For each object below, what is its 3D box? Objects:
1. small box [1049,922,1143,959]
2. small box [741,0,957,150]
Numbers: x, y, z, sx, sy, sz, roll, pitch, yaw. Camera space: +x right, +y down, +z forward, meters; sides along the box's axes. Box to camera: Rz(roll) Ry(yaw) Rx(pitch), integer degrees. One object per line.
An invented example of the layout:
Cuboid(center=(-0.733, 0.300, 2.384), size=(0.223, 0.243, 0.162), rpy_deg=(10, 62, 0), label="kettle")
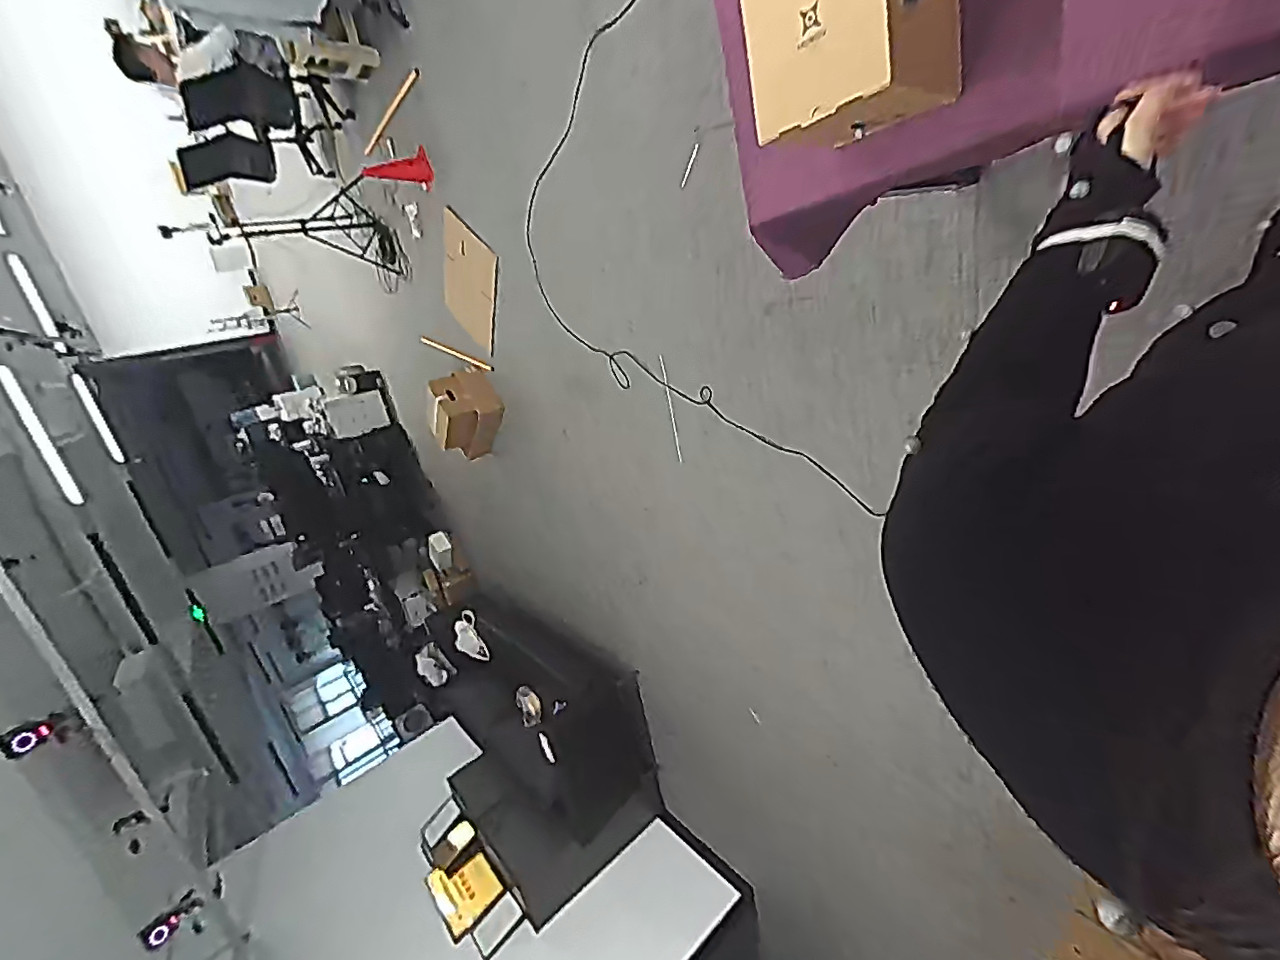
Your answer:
Cuboid(center=(1.079, 1.197, 1.270), size=(0.179, 0.176, 0.168), rpy_deg=(13, 122, 49), label="small box")
Cuboid(center=(0.240, -0.498, 0.615), size=(0.168, 0.176, 0.179), rpy_deg=(9, 118, 50), label="small box")
